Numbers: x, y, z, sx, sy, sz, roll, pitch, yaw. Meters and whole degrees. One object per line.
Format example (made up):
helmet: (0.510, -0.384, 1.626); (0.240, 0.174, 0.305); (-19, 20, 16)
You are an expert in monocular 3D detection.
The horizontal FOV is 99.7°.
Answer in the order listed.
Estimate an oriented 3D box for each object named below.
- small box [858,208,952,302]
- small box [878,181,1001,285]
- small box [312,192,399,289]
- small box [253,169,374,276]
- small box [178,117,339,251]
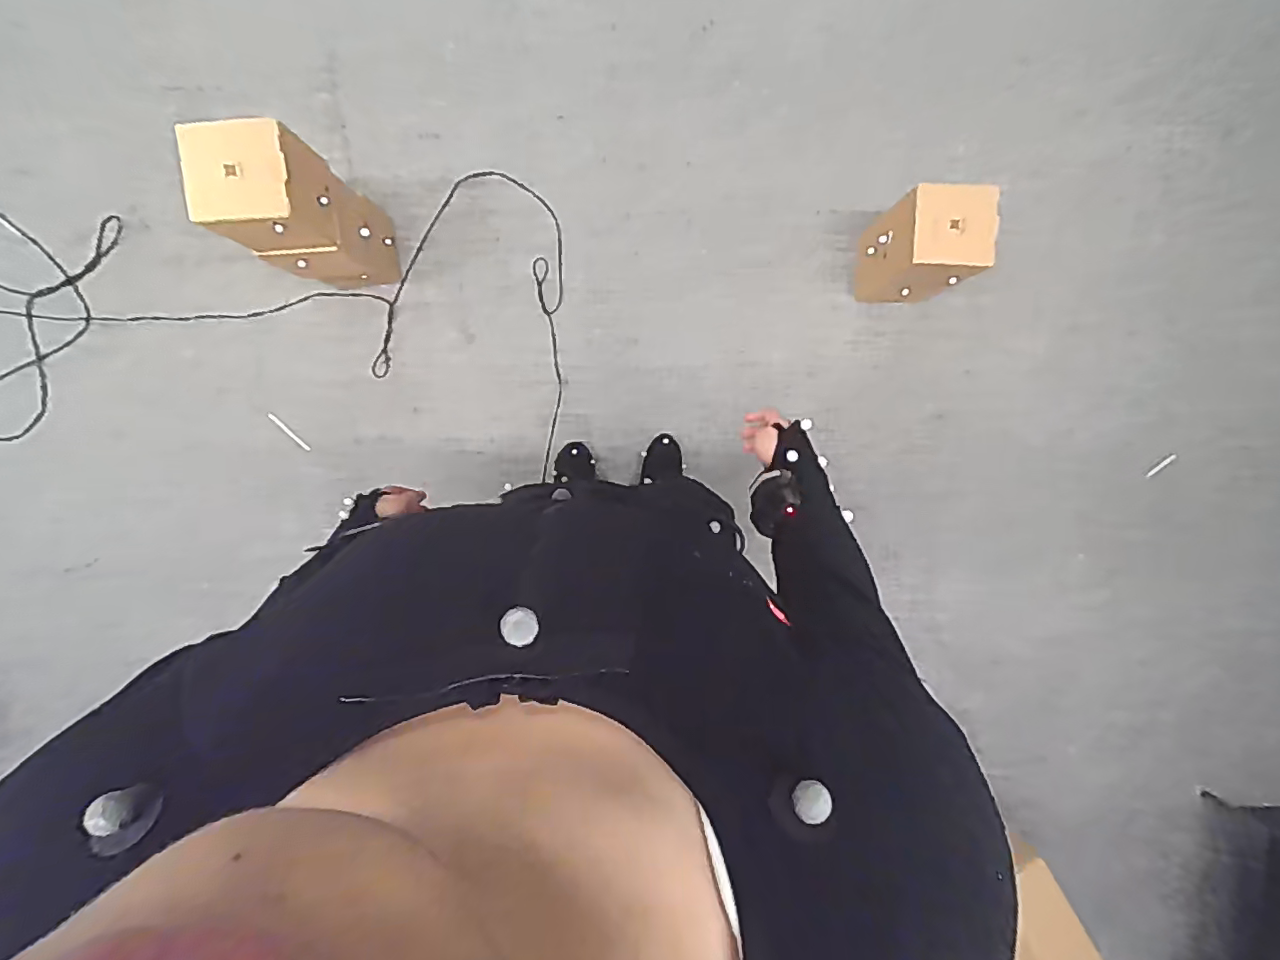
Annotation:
small box: (0.665, -0.561, 1.363); (0.168, 0.176, 0.179); (1, 95, -1)
small box: (0.658, -0.540, 1.201); (0.179, 0.176, 0.168); (1, 94, 0)
small box: (-0.717, -0.586, 1.338); (0.179, 0.176, 0.168); (-8, 95, 0)
small box: (-0.710, -0.553, 1.177); (0.179, 0.176, 0.168); (-4, 96, -1)
small box: (-0.704, -0.544, 1.015); (0.179, 0.176, 0.168); (-5, 96, -1)
